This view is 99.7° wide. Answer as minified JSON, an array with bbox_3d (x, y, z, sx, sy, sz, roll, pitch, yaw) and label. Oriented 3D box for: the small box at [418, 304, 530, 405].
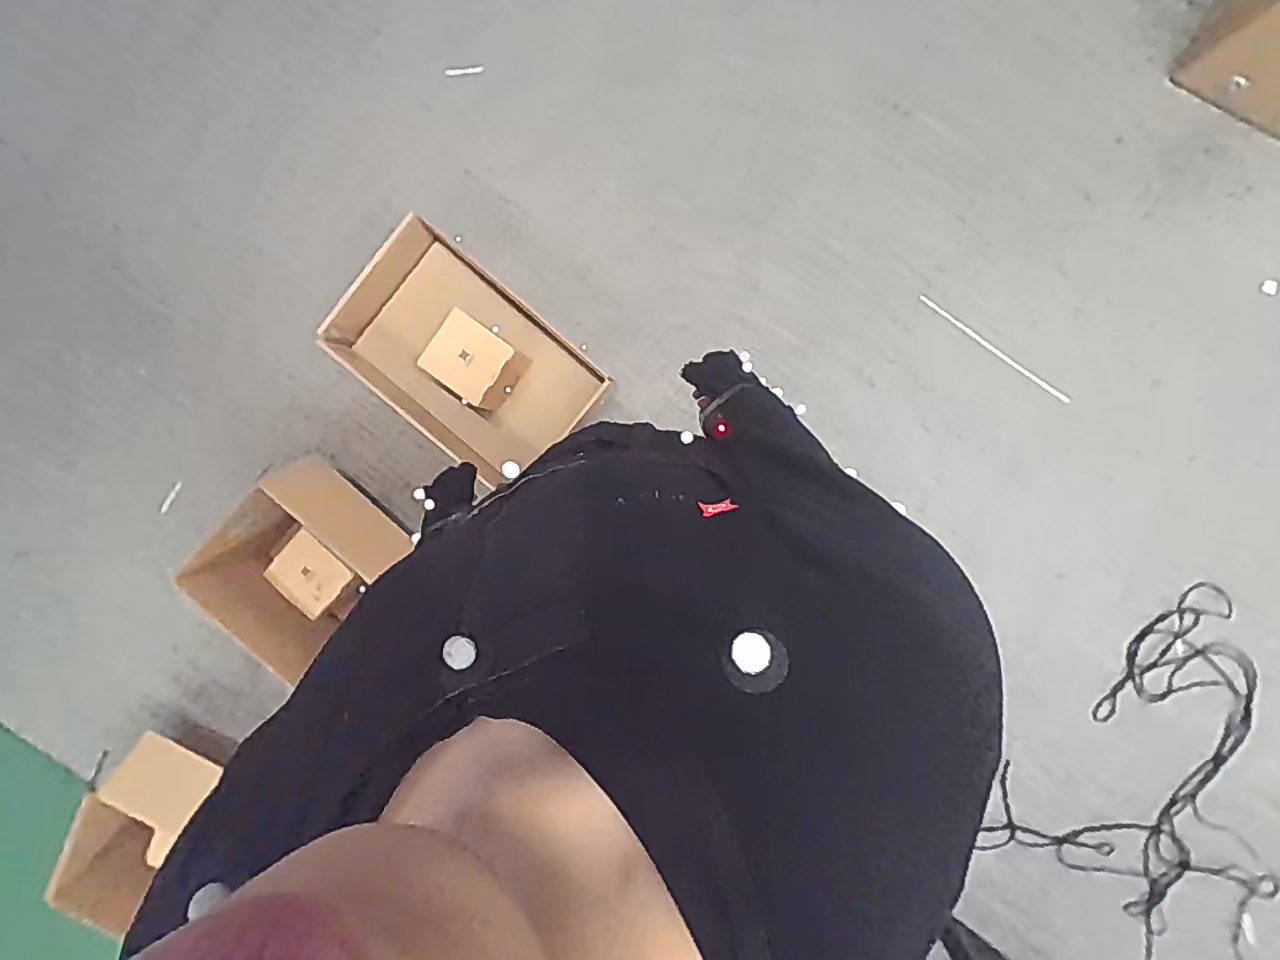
[{"bbox_3d":[-0.400,-0.297,1.334,0.179,0.176,0.168,36,94,-1],"label":"small box"}]
